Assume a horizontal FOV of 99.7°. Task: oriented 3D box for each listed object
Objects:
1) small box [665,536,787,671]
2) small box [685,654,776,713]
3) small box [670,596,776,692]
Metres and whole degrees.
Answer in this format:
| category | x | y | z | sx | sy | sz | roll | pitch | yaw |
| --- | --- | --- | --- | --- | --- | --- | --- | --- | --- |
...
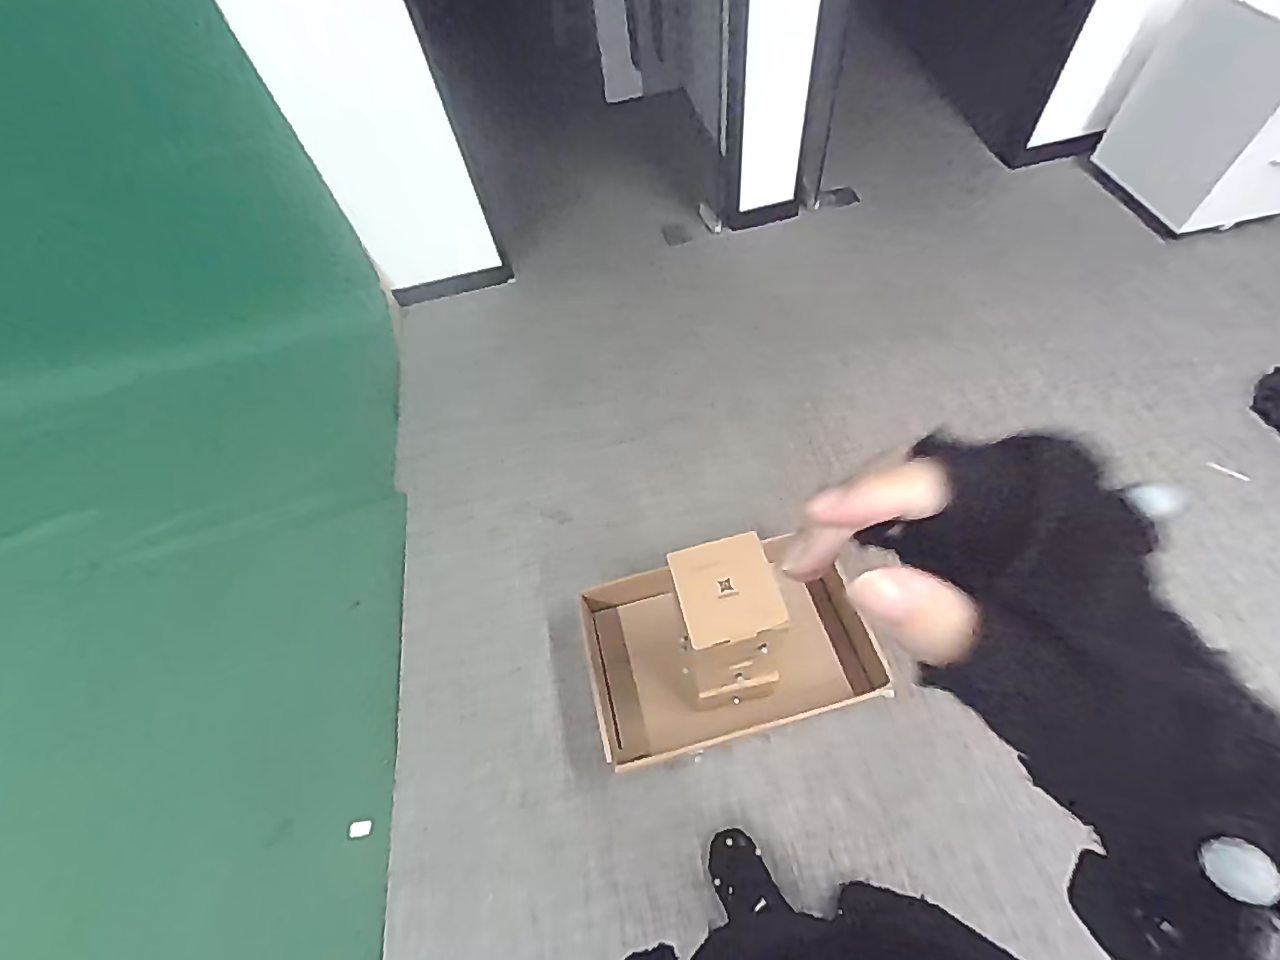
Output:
| category | x | y | z | sx | sy | sz | roll | pitch | yaw |
| --- | --- | --- | --- | --- | --- | --- | --- | --- | --- |
| small box | 0.149 | 0.230 | 0.973 | 0.168 | 0.176 | 0.179 | -14 | 55 | -3 |
| small box | 0.200 | 0.424 | 1.249 | 0.179 | 0.176 | 0.168 | -13 | 56 | 1 |
| small box | 0.171 | 0.326 | 1.125 | 0.168 | 0.176 | 0.179 | -17 | 56 | -2 |
